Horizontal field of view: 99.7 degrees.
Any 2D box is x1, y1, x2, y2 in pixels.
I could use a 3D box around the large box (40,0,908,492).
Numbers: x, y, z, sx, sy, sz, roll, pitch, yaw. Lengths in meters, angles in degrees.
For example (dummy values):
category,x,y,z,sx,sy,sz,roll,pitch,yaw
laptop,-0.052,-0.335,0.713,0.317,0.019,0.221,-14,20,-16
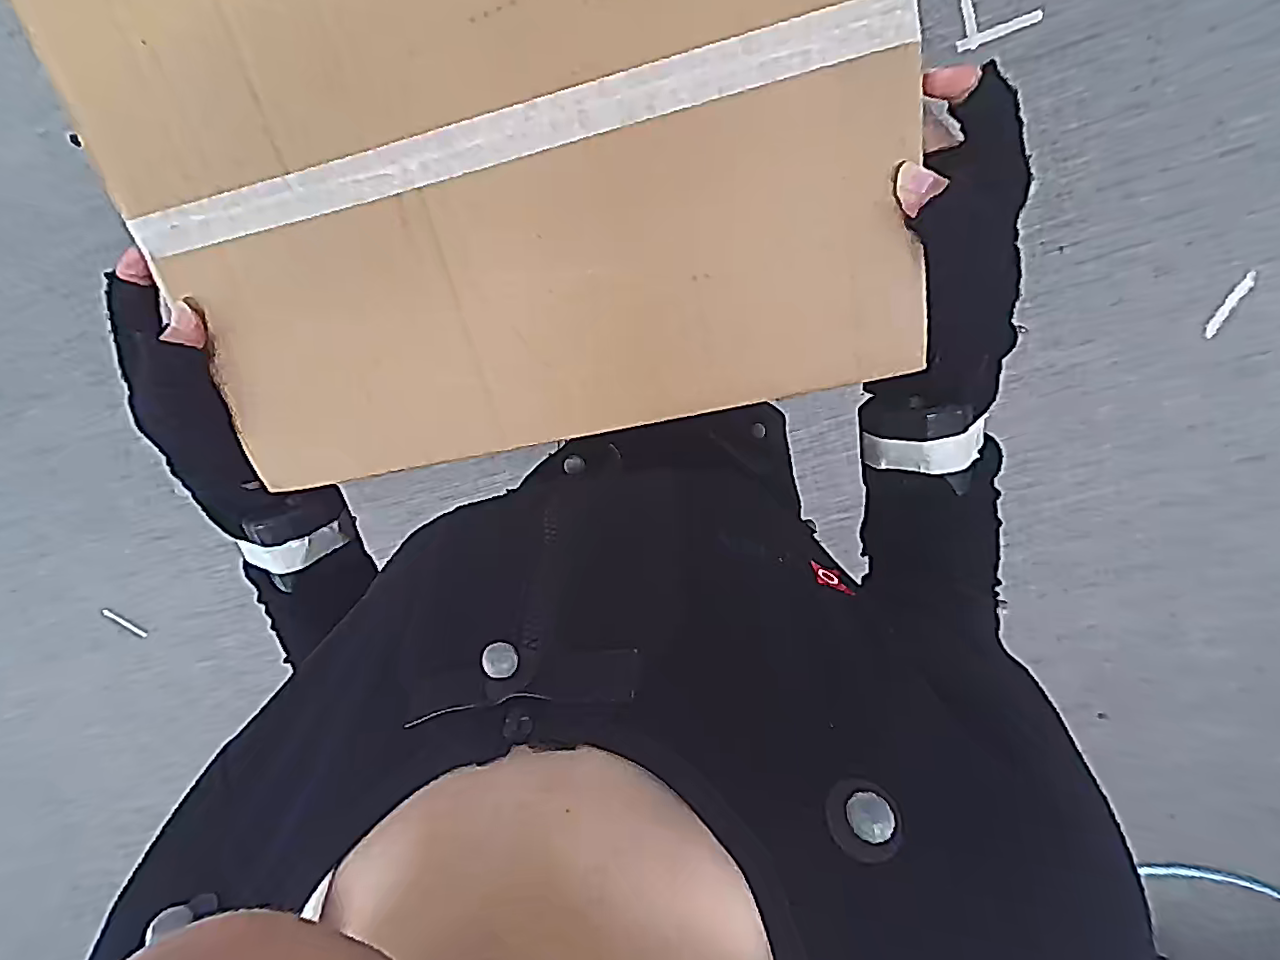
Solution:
category,x,y,z,sx,sy,sz,roll,pitch,yaw
large box,-0.063,-0.223,0.414,0.408,0.320,0.320,-10,111,9
